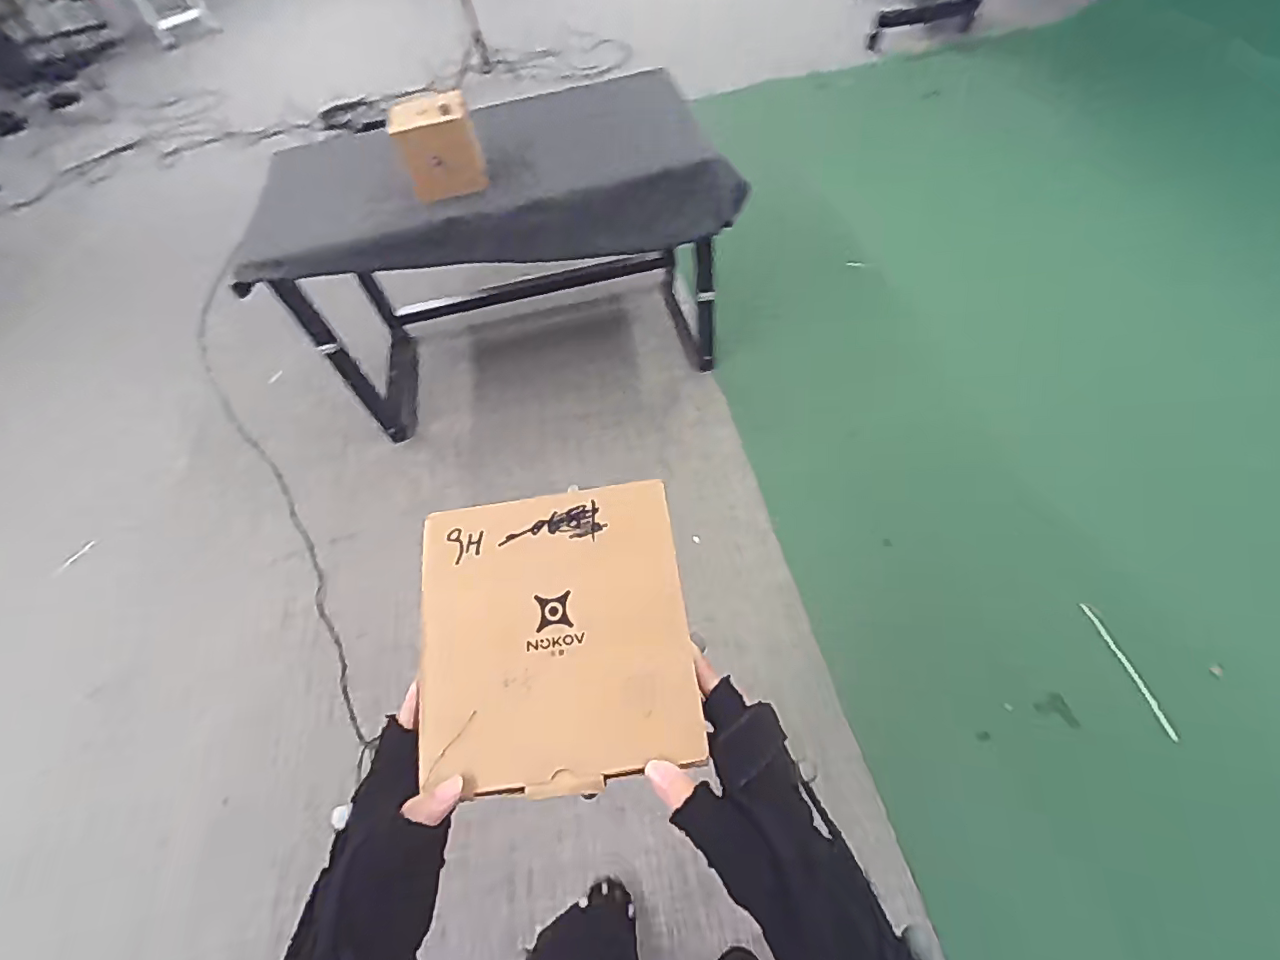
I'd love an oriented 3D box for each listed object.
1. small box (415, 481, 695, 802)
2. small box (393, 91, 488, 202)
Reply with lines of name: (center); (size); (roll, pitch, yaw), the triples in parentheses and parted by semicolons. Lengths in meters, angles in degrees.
small box: (-0.054, 0.121, 0.411); (0.168, 0.176, 0.179); (-9, 67, -1)
small box: (-0.485, -0.824, 1.343); (0.179, 0.176, 0.168); (-14, 55, -1)
